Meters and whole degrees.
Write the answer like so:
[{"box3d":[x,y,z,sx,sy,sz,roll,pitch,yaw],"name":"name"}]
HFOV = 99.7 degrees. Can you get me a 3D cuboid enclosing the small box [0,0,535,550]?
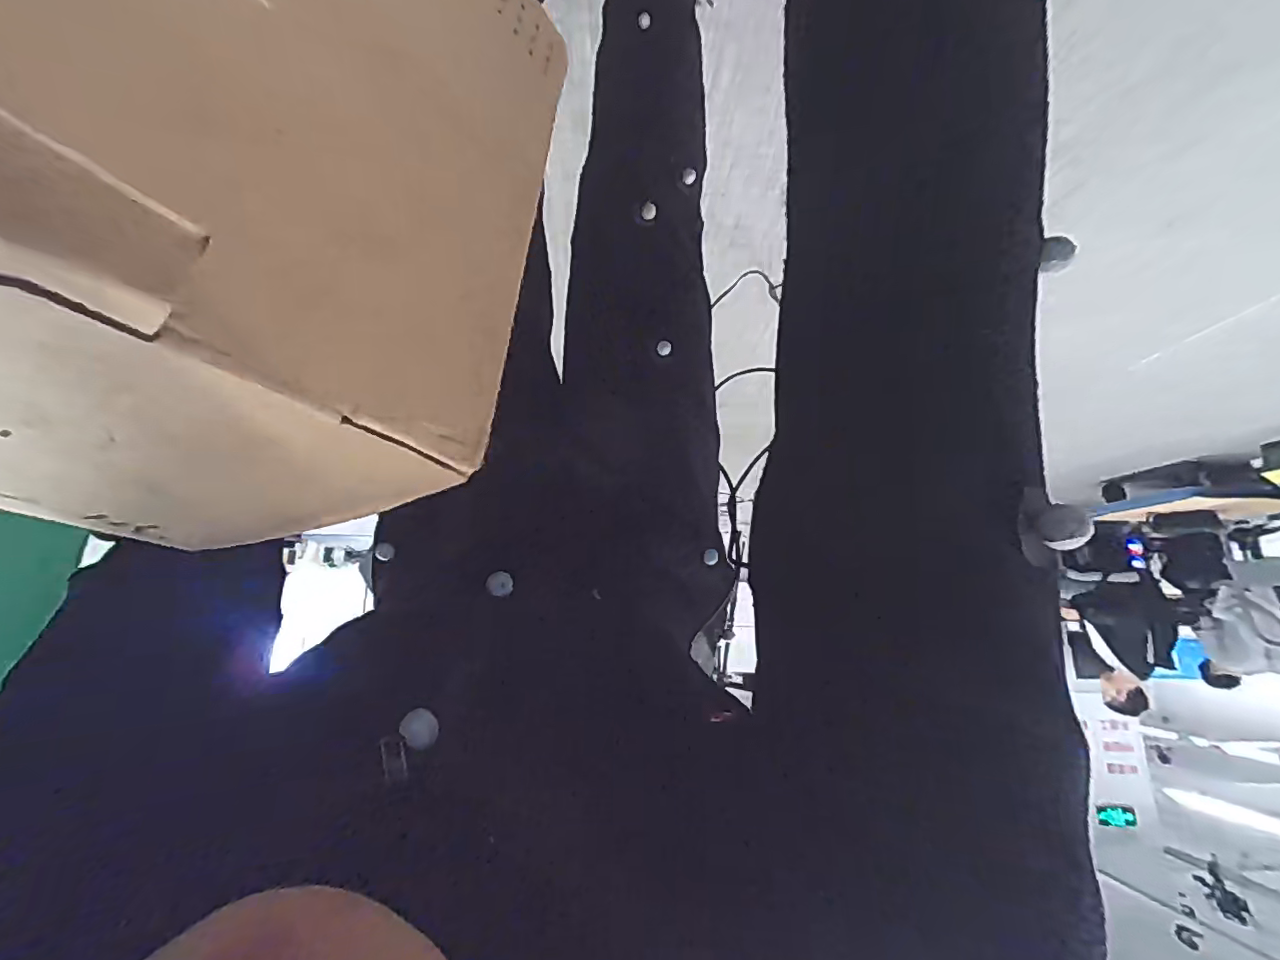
[{"box3d":[-0.144,-0.090,0.143,0.179,0.176,0.168,-12,152,33],"name":"small box"}]
